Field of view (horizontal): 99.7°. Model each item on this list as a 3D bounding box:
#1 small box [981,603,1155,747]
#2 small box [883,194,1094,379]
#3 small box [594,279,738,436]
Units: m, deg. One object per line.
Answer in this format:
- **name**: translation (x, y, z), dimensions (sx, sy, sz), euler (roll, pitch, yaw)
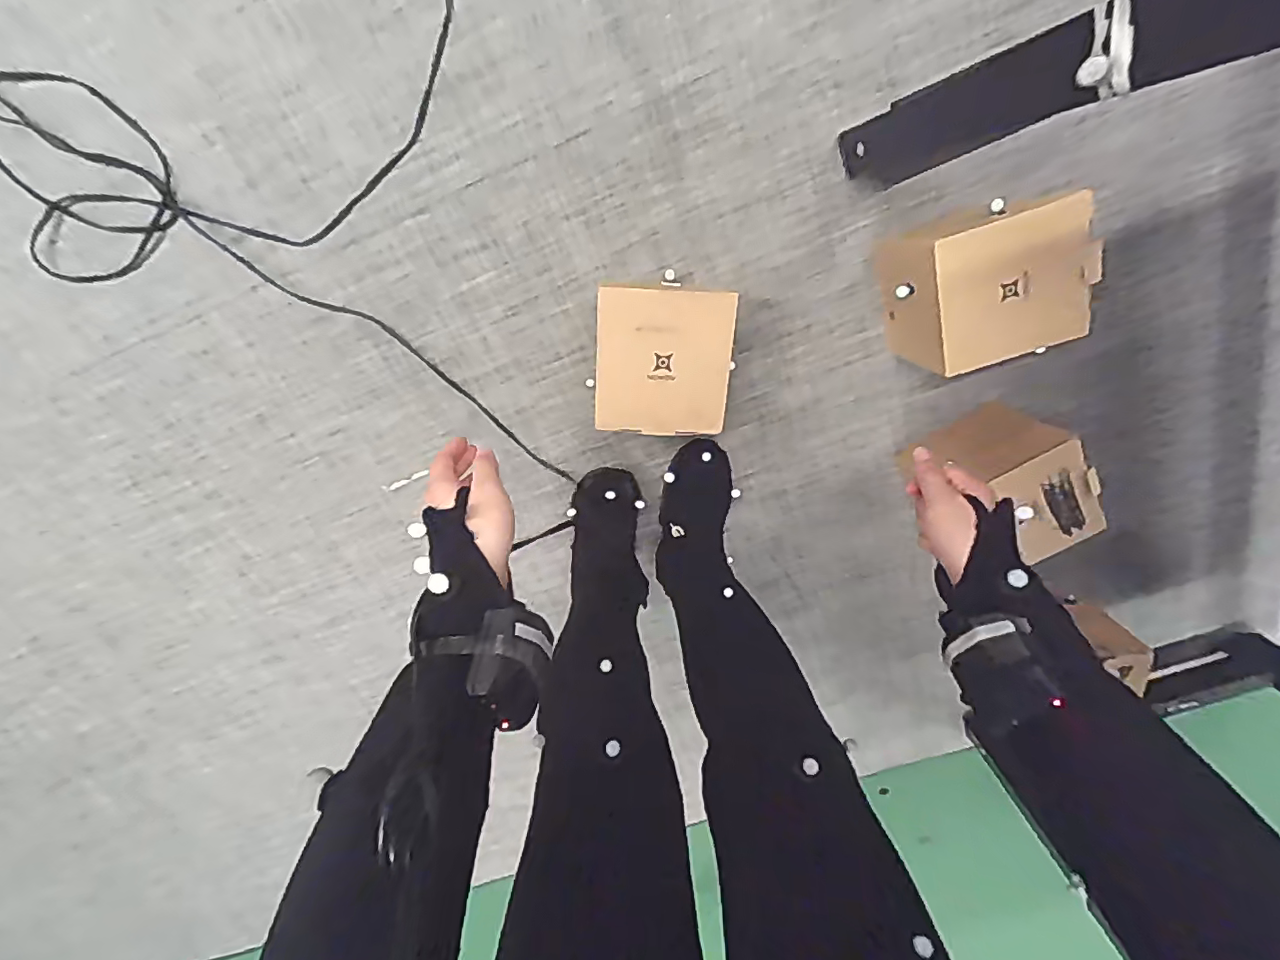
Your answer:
- **small box**: translation (0.739, 0.335, 0.958), dimensions (0.168, 0.176, 0.179), euler (-8, 115, 3)
- **small box**: translation (0.434, -0.248, 0.700), dimensions (0.179, 0.176, 0.168), euler (-17, 112, 6)
- **small box**: translation (0.026, -0.169, 0.727), dimensions (0.168, 0.176, 0.179), euler (2, 112, -3)
